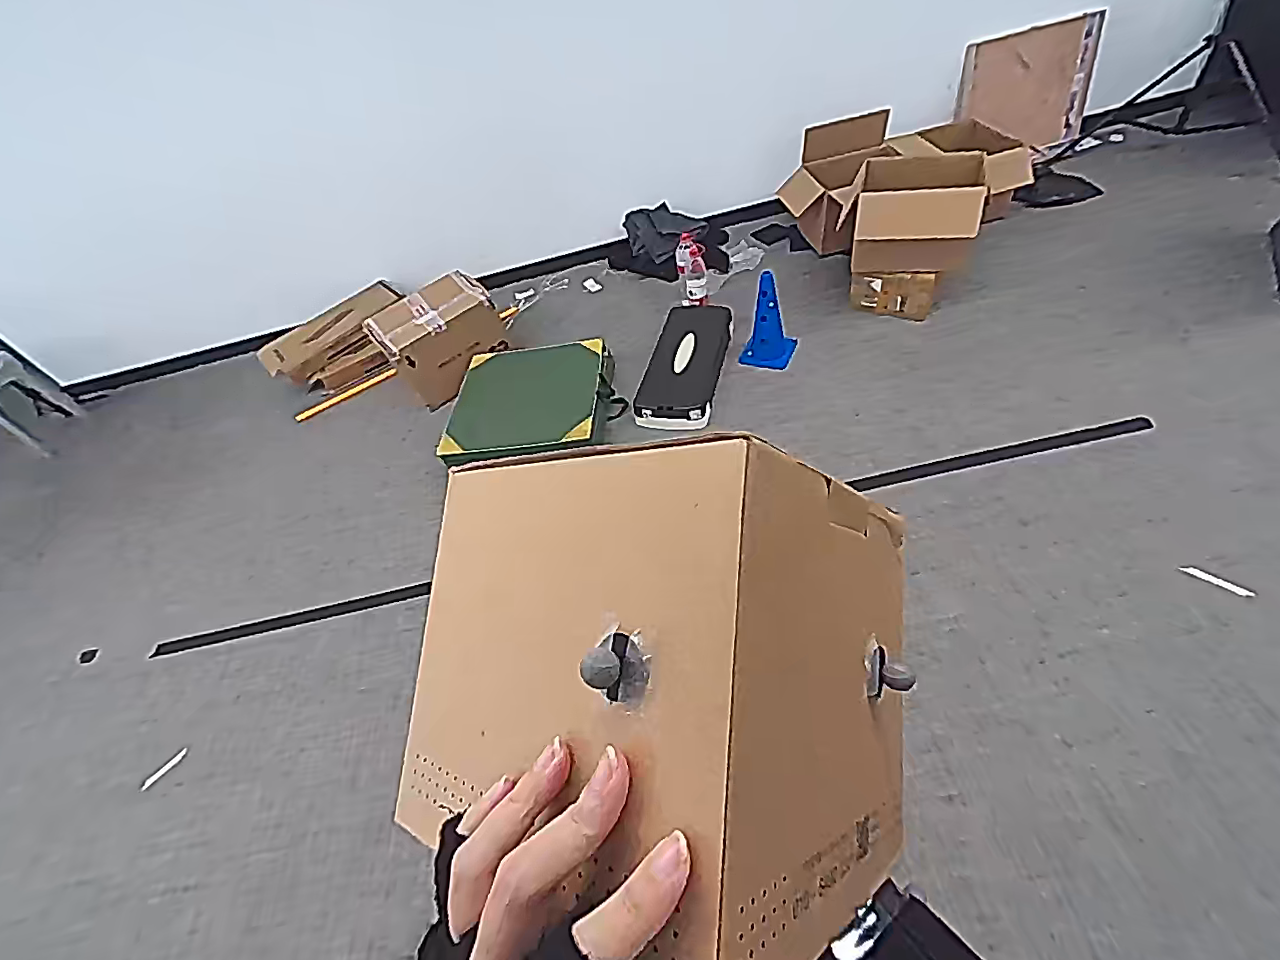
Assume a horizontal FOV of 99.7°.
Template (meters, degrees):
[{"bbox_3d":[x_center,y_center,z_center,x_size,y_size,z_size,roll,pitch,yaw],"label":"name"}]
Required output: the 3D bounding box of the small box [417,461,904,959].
[{"bbox_3d":[0.015,0.094,0.268,0.179,0.168,0.176,-5,75,41],"label":"small box"}]
